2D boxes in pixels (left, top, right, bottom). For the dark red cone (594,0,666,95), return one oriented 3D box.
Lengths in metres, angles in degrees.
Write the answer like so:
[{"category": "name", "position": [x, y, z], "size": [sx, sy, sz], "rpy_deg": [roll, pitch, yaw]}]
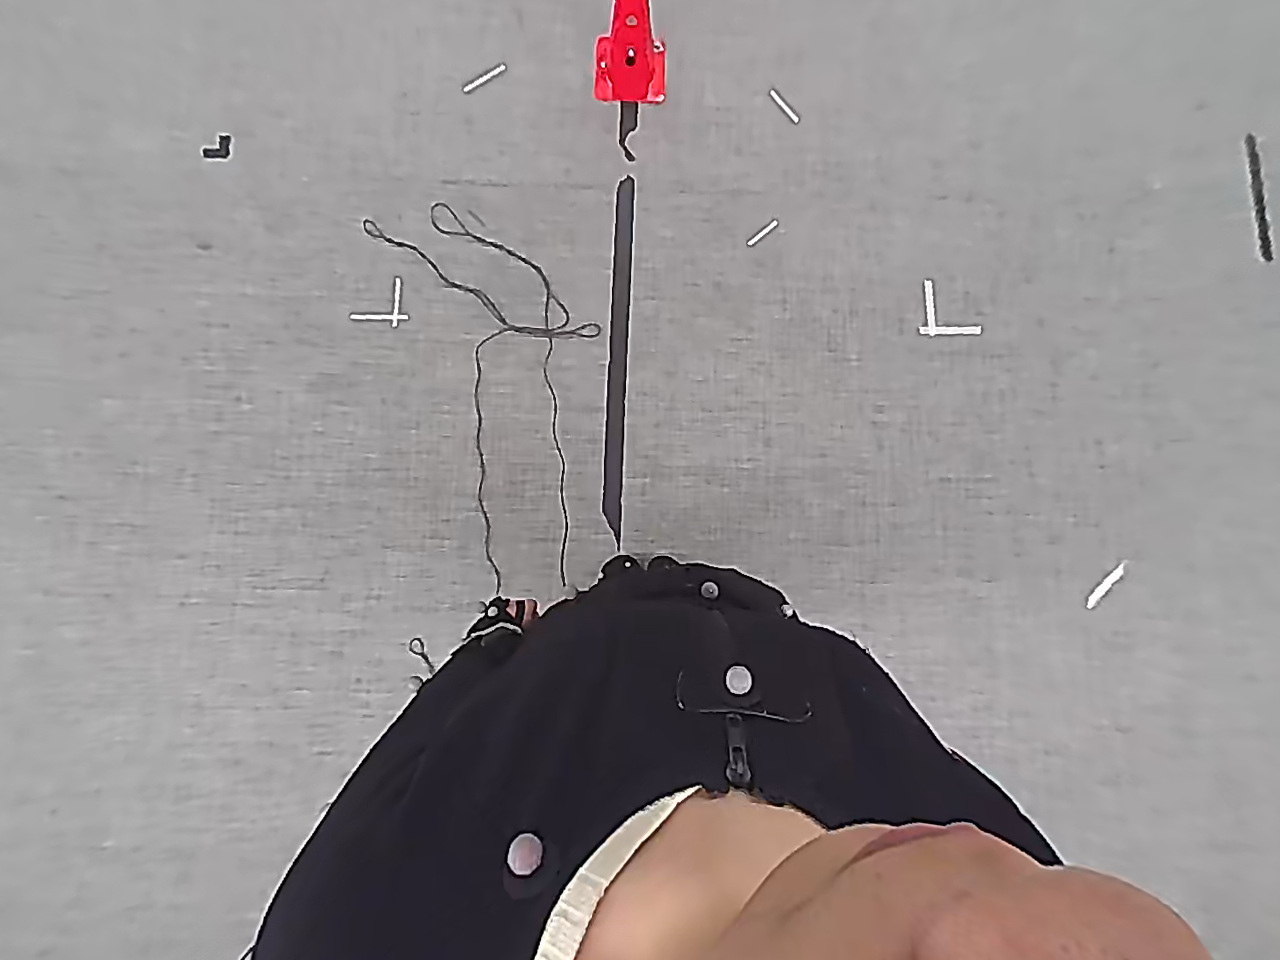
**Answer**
[{"category": "dark red cone", "position": [-0.024, -1.193, 1.349], "size": [0.201, 0.394, 0.202], "rpy_deg": [1, 84, -1]}]
